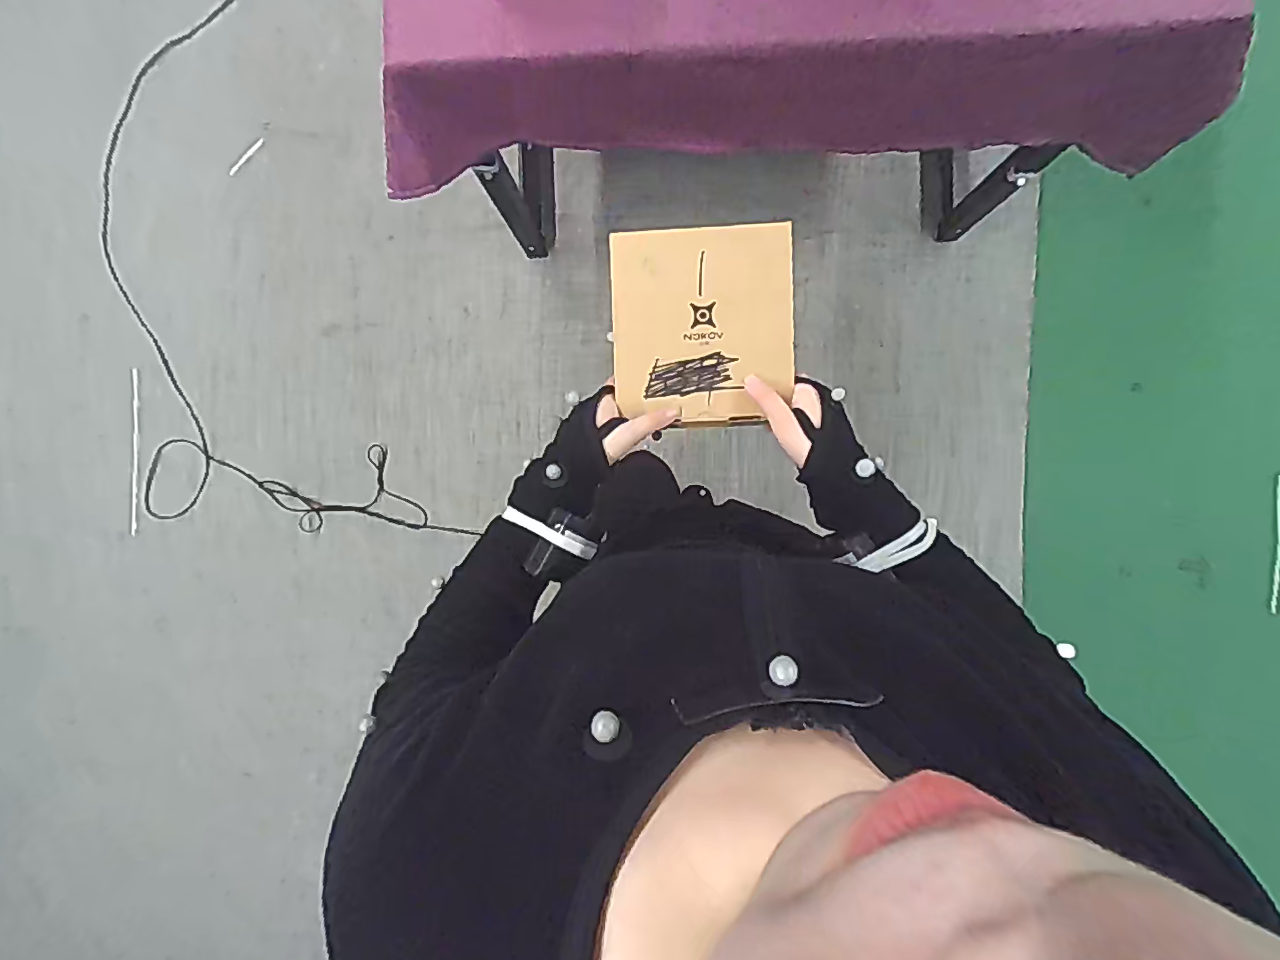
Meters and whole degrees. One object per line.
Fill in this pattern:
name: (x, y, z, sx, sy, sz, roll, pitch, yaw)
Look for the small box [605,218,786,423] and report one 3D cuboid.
small box: (0.058, -0.151, 0.573, 0.168, 0.176, 0.179, -2, 93, 5)
